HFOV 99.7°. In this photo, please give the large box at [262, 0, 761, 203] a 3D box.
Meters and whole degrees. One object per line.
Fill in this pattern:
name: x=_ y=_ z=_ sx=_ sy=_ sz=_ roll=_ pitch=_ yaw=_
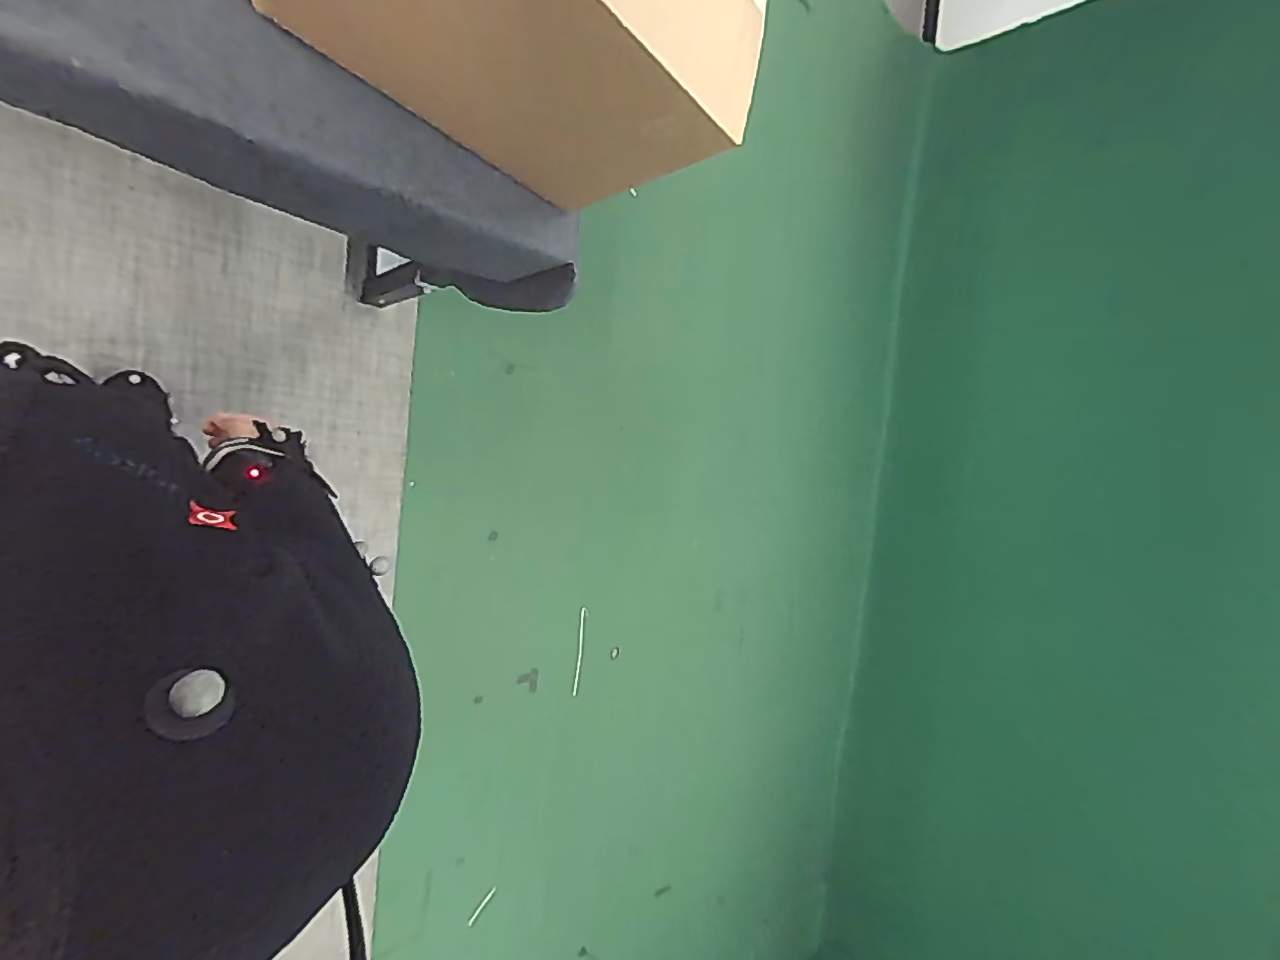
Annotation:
large box: x=-0.109 y=-0.569 z=0.568 sx=0.408 sy=0.320 sz=0.320 roll=12 pitch=88 yaw=-47
